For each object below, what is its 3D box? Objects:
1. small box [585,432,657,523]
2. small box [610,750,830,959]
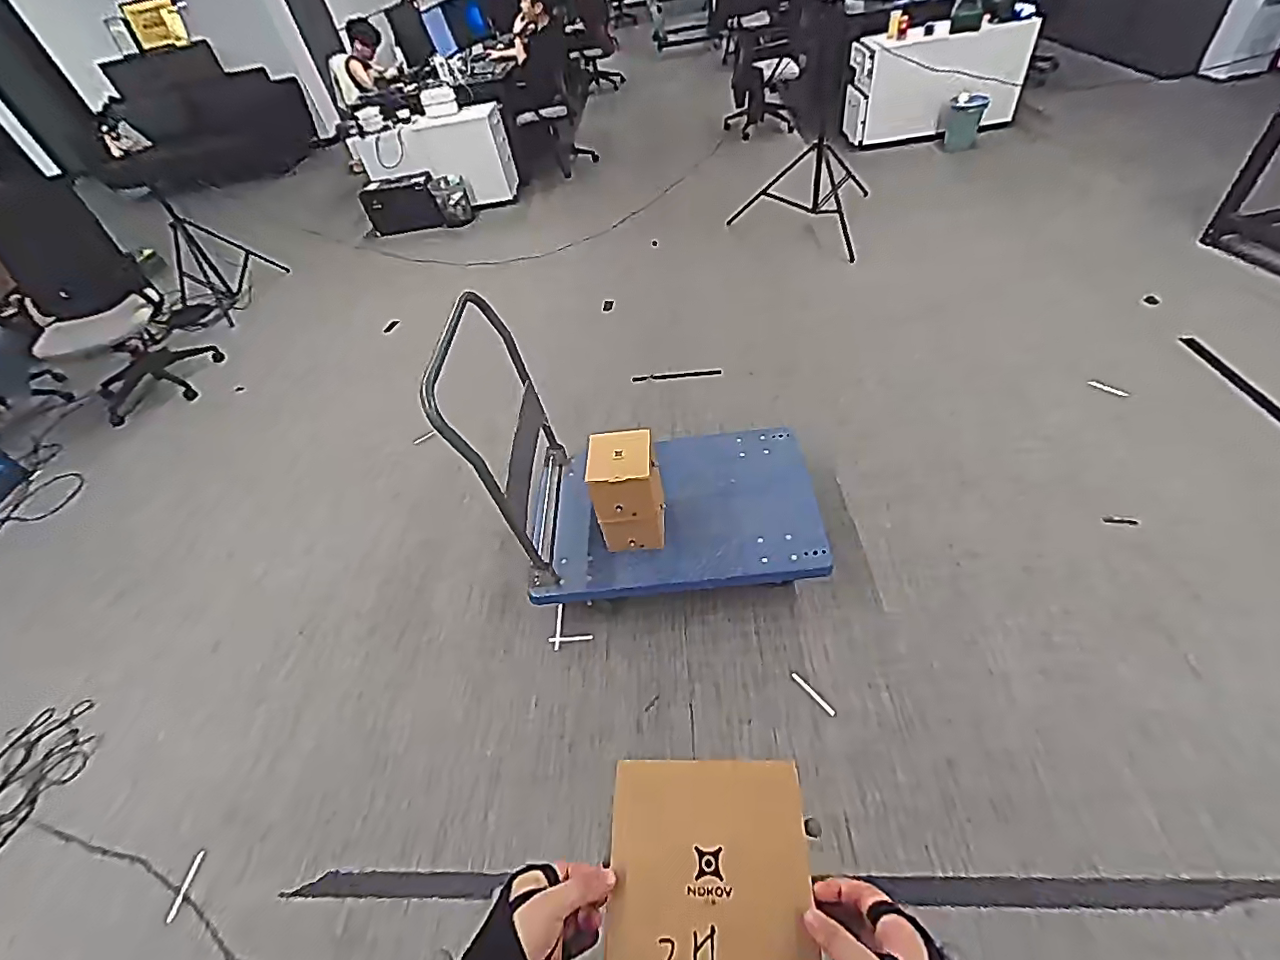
[{"bbox_3d":[-0.045,-0.006,1.453,0.168,0.176,0.179,-5,48,6],"label":"small box"},{"bbox_3d":[0.073,0.367,0.498,0.168,0.176,0.179,-4,48,8],"label":"small box"}]
